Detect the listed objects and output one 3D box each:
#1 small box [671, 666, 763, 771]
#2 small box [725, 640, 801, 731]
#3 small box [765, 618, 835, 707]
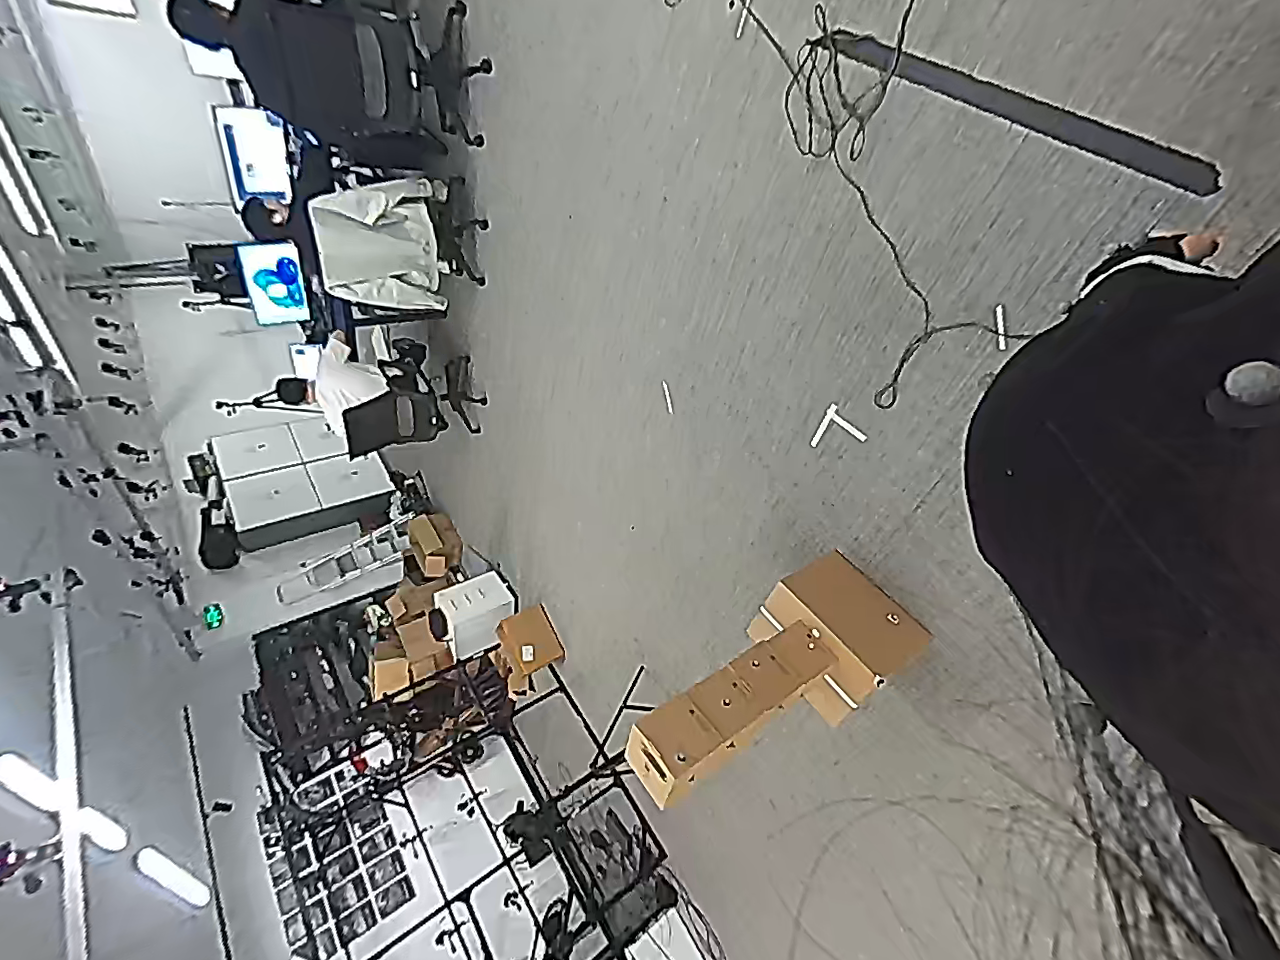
[{"bbox_3d":[0.213,0.650,1.489,0.168,0.176,0.179,44,137,36],"label":"small box"},{"bbox_3d":[0.341,0.601,1.581,0.168,0.176,0.179,47,140,33],"label":"small box"},{"bbox_3d":[0.470,0.564,1.673,0.168,0.176,0.179,47,139,31],"label":"small box"}]
